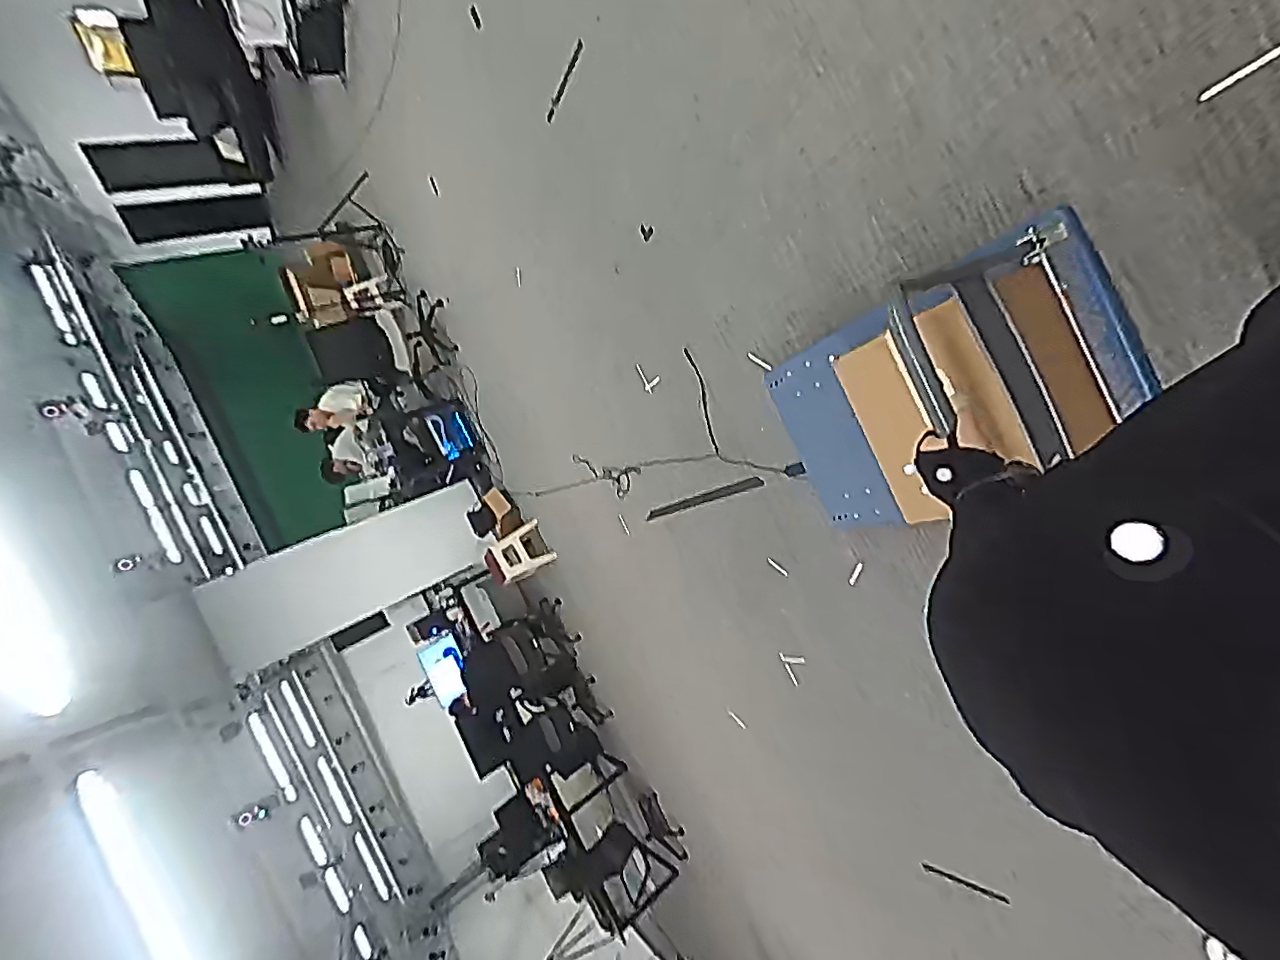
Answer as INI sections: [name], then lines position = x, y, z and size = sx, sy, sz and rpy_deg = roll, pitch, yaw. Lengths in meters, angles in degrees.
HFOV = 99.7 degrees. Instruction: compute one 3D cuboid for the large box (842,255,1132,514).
[large box]
position = 0.715, -0.188, 1.133
size = 0.320, 0.320, 0.408
rpy_deg = -25, 90, 60
